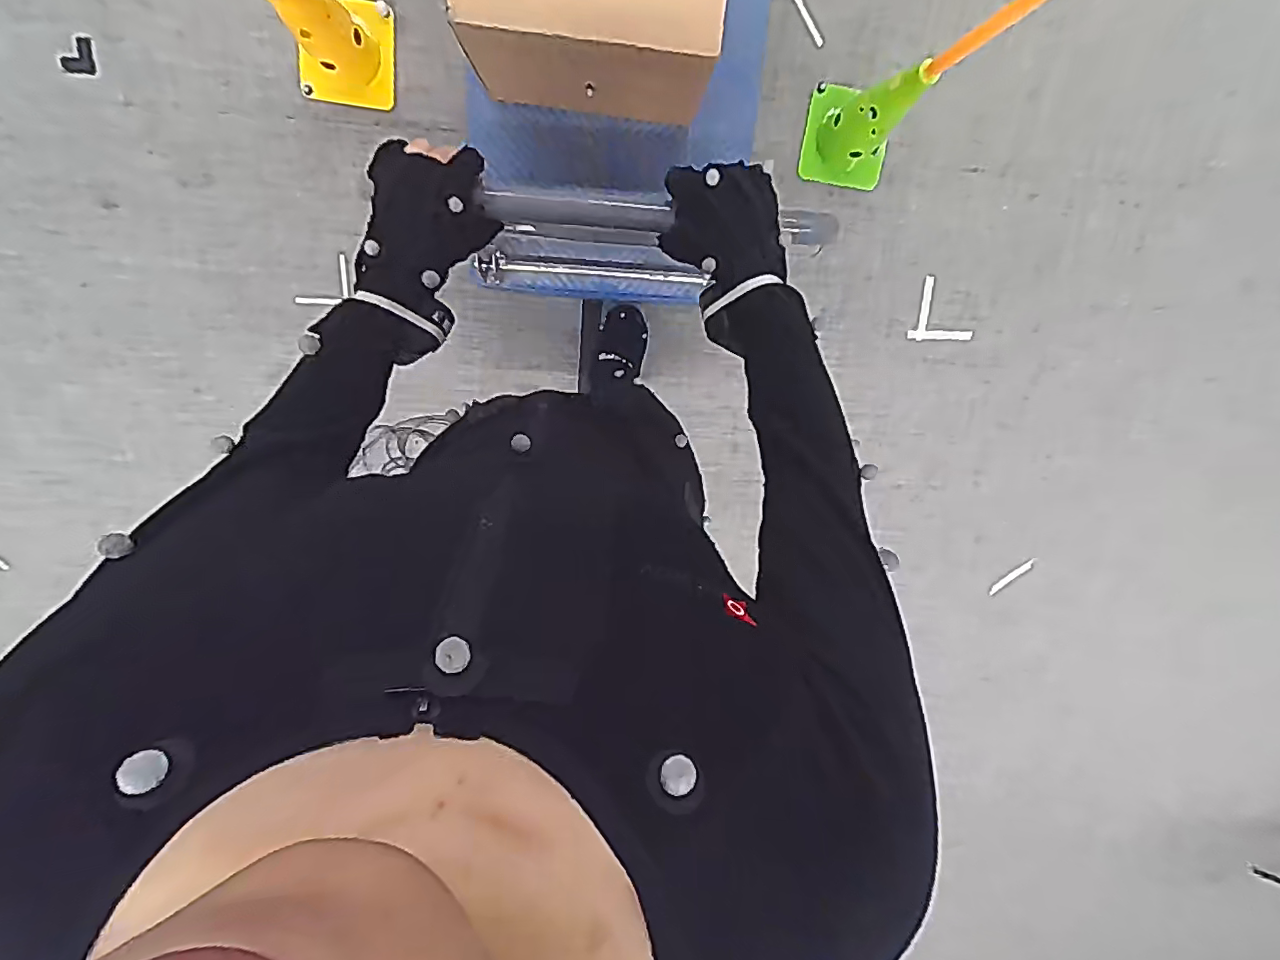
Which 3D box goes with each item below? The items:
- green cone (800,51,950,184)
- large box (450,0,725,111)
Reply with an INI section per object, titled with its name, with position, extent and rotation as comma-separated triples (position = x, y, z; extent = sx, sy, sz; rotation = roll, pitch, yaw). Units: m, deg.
[green cone]
position = 0.498, -0.766, 1.102
extent = 0.202, 0.368, 0.200
rotation = 6, 107, -6
[large box]
position = -0.070, -0.851, 0.894
extent = 0.408, 0.320, 0.320
rotation = 5, 107, -4
